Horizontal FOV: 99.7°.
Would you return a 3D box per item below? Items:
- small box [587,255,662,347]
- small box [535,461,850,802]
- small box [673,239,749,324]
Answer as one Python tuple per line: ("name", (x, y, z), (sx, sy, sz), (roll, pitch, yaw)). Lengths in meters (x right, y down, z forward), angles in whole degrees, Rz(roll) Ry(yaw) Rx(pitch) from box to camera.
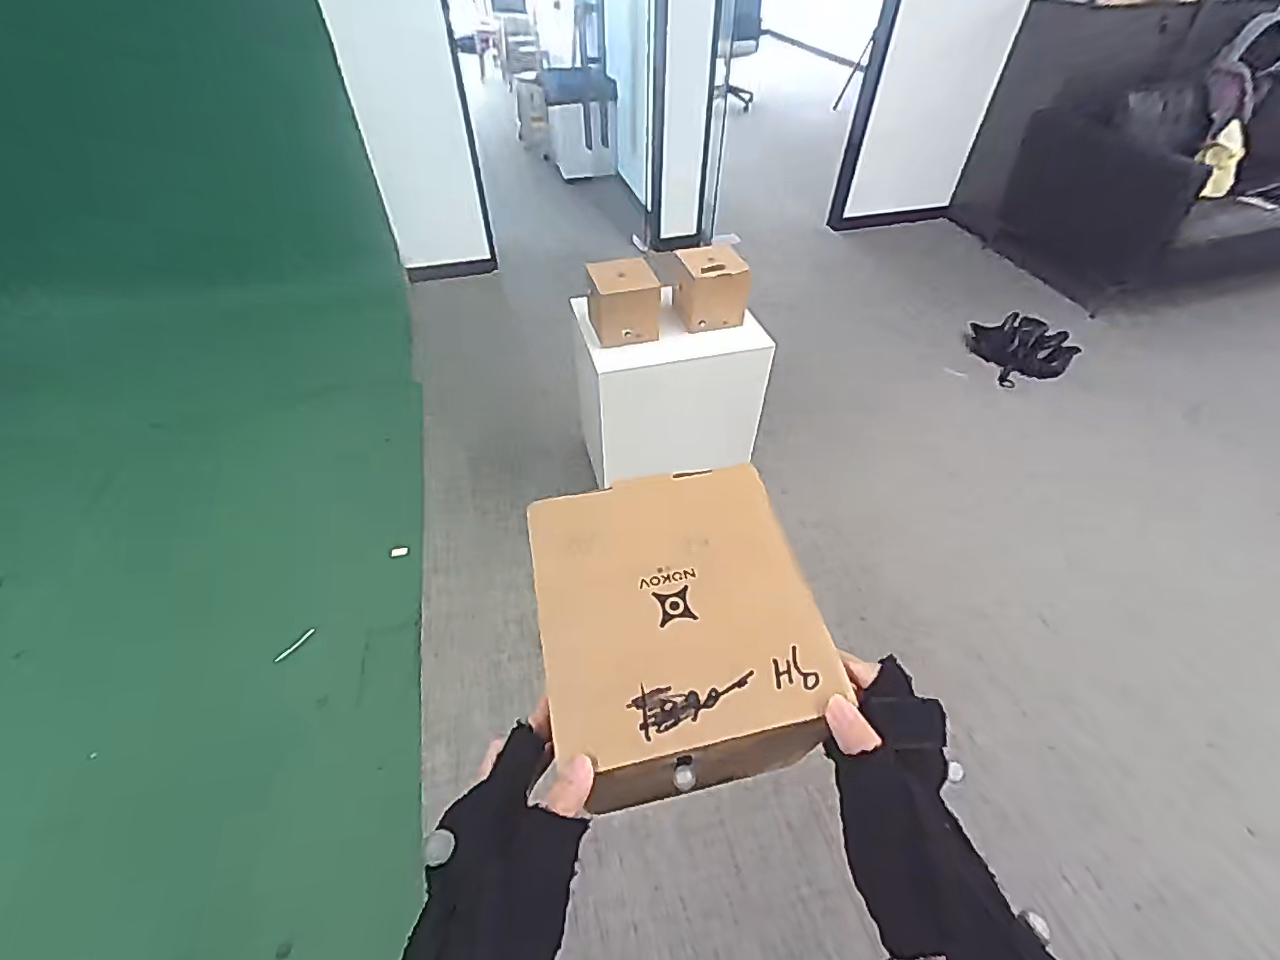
("small box", (-0.045, -0.494, 1.490), (0.168, 0.176, 0.179), (-14, 50, -11))
("small box", (0.023, 0.115, 0.403), (0.168, 0.176, 0.179), (-11, 53, -5))
("small box", (0.197, -0.559, 1.542), (0.168, 0.176, 0.179), (-13, 48, -10))
